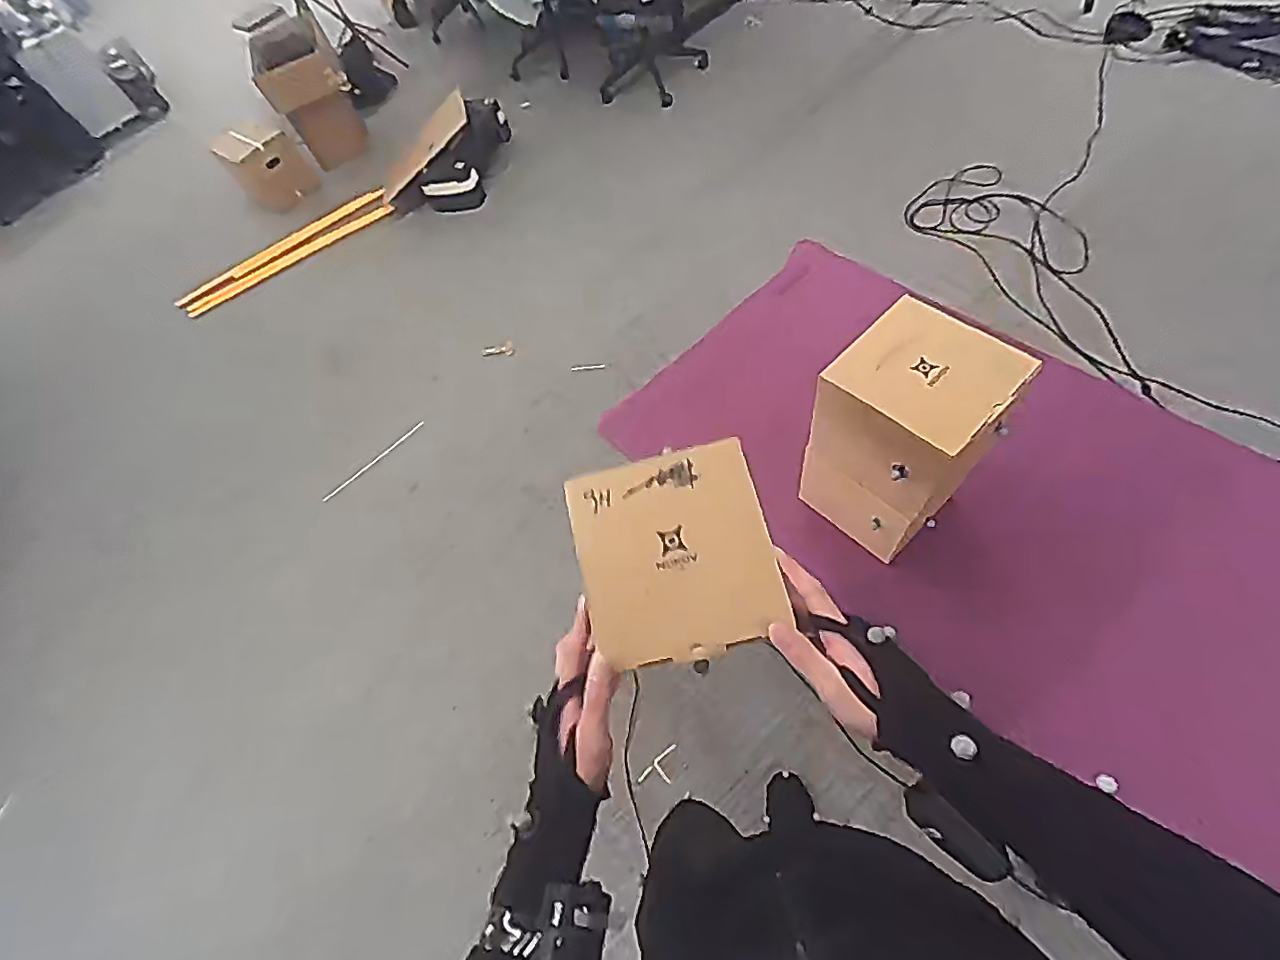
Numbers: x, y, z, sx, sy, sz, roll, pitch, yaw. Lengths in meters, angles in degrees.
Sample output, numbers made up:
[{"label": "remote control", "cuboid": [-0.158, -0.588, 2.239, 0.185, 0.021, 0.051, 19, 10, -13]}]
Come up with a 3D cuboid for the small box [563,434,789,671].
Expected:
[{"label": "small box", "cuboid": [0.035, 0.079, 0.536, 0.168, 0.176, 0.179, -13, 72, 2]}]

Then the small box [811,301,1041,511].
[{"label": "small box", "cuboid": [0.341, -0.083, 0.684, 0.168, 0.176, 0.179, -41, 60, -11]}]
